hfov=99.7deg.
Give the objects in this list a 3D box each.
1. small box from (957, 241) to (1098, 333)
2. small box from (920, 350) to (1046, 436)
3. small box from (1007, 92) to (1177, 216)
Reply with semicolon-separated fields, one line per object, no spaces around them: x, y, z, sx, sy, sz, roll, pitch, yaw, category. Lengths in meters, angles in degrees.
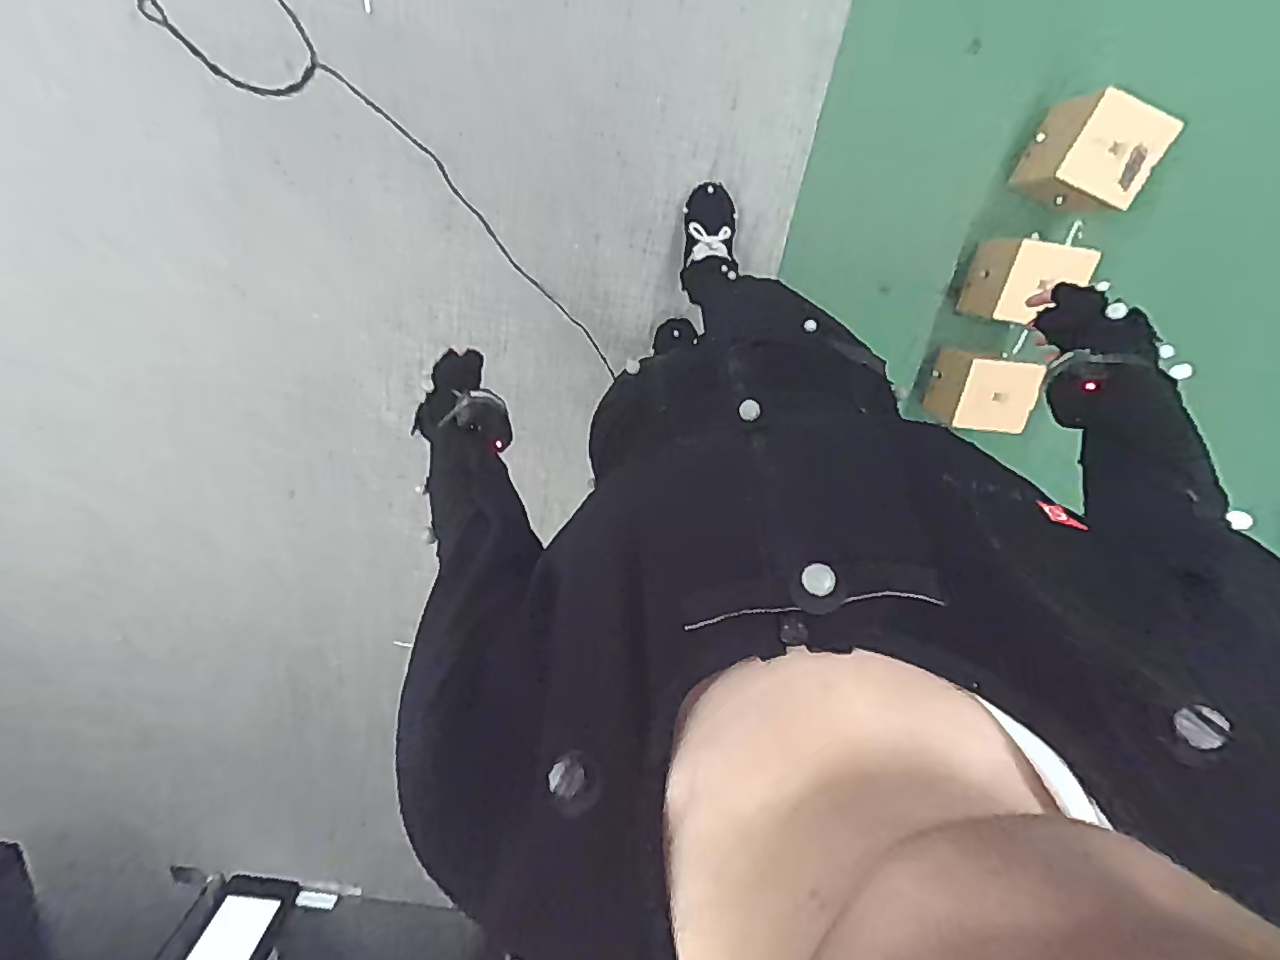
0.872;-0.445;1.241;0.179;0.176;0.168;9;114;-3;small box
0.837;-0.220;1.339;0.179;0.176;0.168;6;113;-2;small box
0.940;-0.675;1.143;0.179;0.176;0.168;21;111;-6;small box
